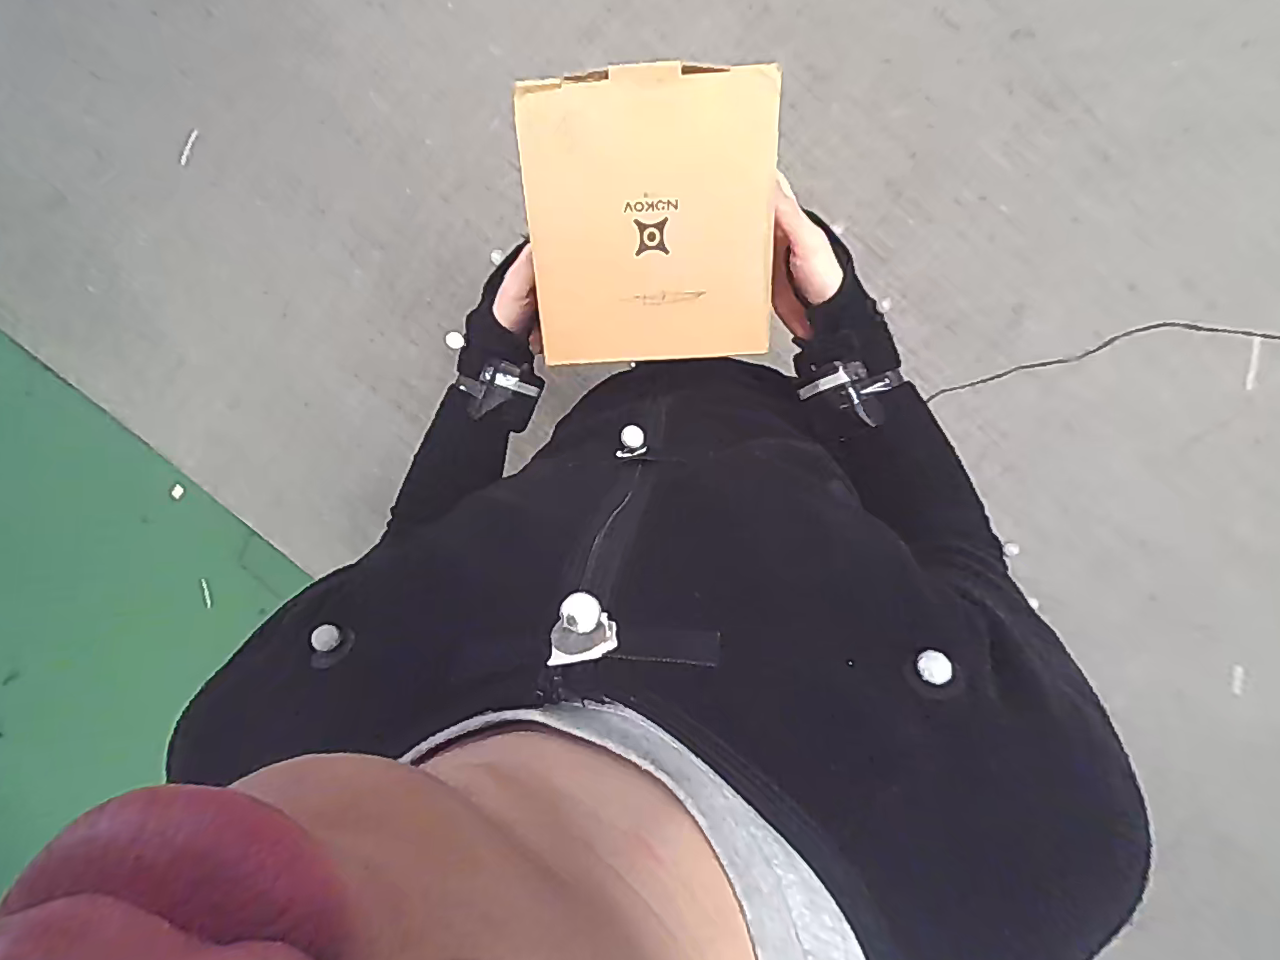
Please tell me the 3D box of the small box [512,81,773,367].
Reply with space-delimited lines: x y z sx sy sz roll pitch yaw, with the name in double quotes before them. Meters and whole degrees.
"small box" 0.002 -0.198 0.439 0.168 0.176 0.179 -1 116 1
